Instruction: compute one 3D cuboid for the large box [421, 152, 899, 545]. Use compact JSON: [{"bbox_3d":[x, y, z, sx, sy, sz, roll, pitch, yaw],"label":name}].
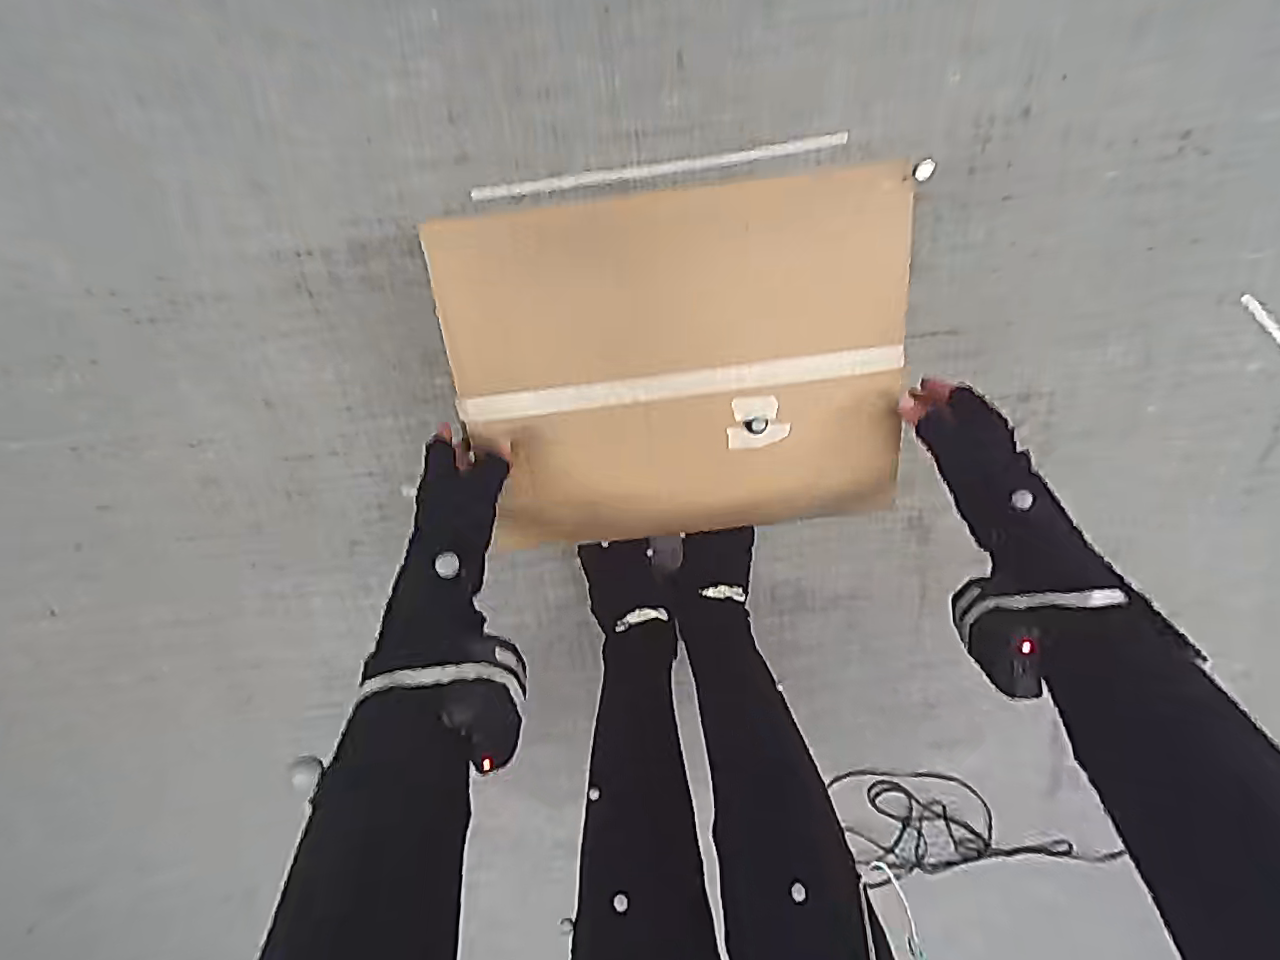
[{"bbox_3d":[0.027,-0.153,0.635,0.408,0.320,0.320,-7,113,1],"label":"large box"}]
